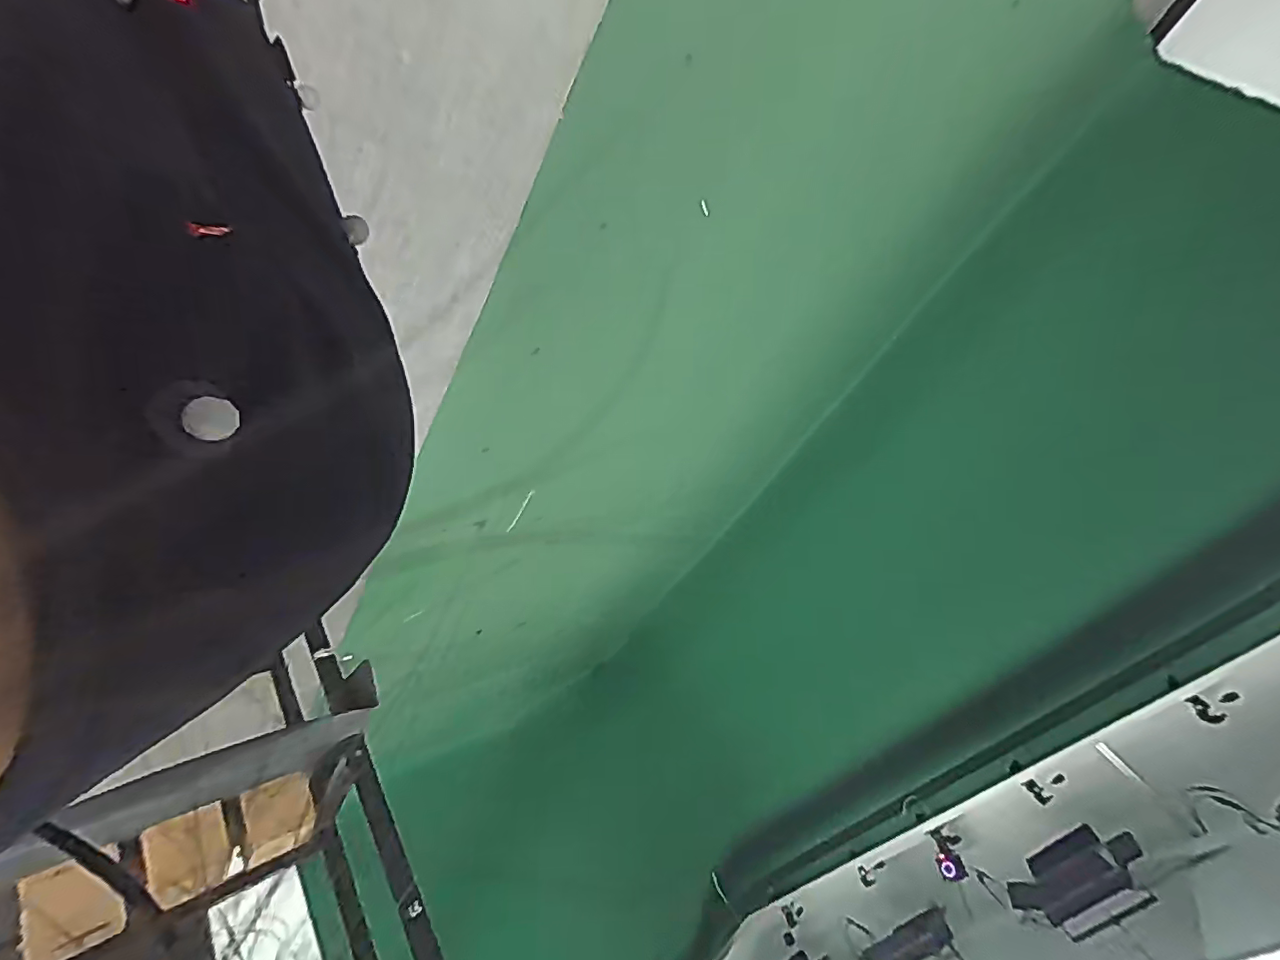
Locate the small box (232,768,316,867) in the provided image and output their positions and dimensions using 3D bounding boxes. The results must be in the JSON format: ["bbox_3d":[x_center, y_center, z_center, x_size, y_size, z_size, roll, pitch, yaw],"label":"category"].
[{"bbox_3d":[-1.101,1.005,1.621,0.168,0.176,0.179,-6,140,-49],"label":"small box"}]
